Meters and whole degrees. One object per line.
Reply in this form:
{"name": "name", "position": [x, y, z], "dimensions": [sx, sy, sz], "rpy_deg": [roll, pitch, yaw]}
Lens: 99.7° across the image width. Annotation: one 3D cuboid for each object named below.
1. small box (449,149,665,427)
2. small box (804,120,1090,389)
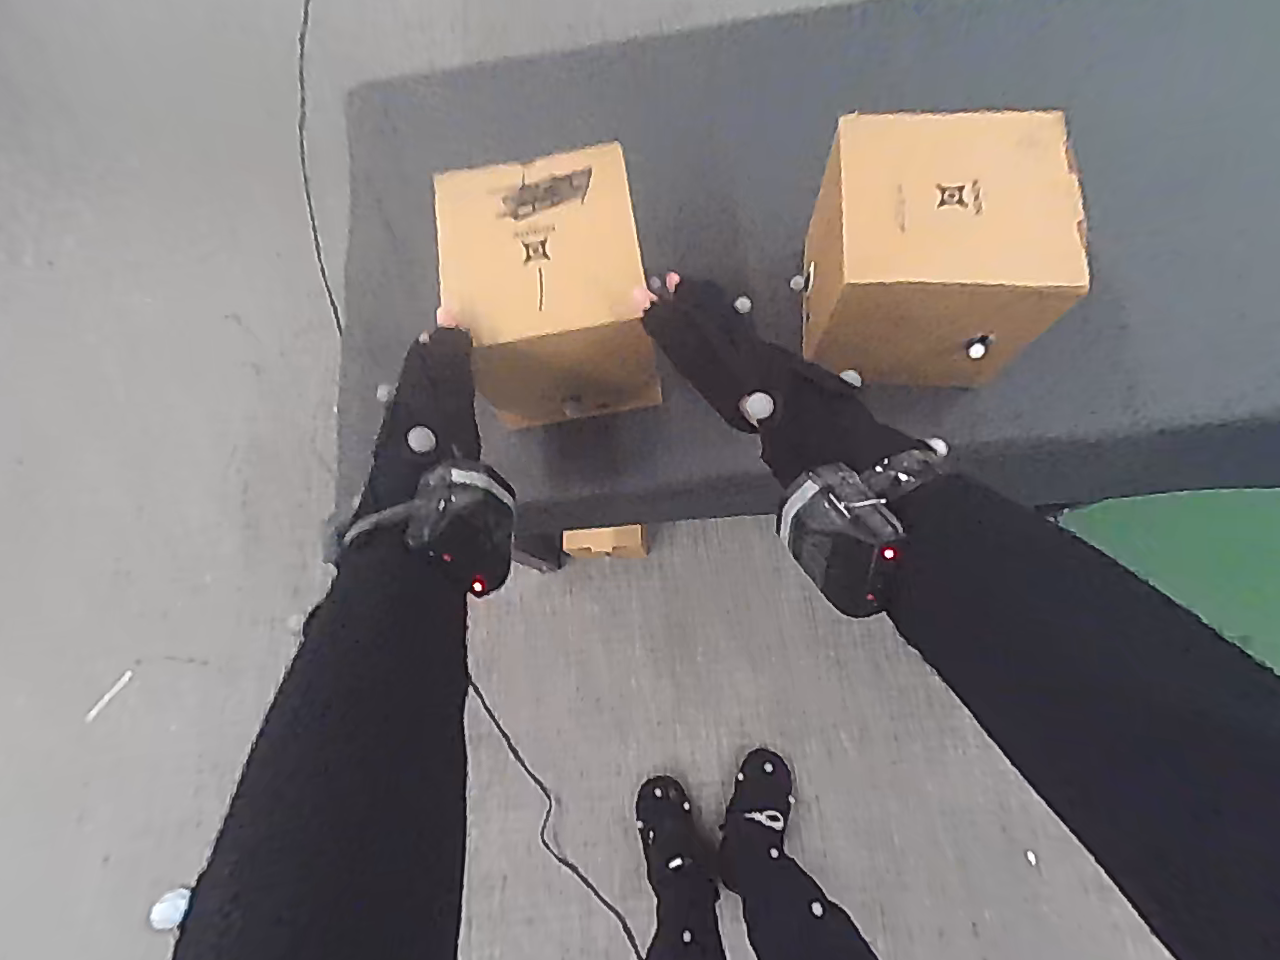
{"name": "small box", "position": [-0.070, -0.170, 0.521], "dimensions": [0.168, 0.176, 0.179], "rpy_deg": [-9, 73, 2]}
{"name": "small box", "position": [0.258, -0.195, 0.503], "dimensions": [0.179, 0.176, 0.168], "rpy_deg": [2, 73, 7]}
